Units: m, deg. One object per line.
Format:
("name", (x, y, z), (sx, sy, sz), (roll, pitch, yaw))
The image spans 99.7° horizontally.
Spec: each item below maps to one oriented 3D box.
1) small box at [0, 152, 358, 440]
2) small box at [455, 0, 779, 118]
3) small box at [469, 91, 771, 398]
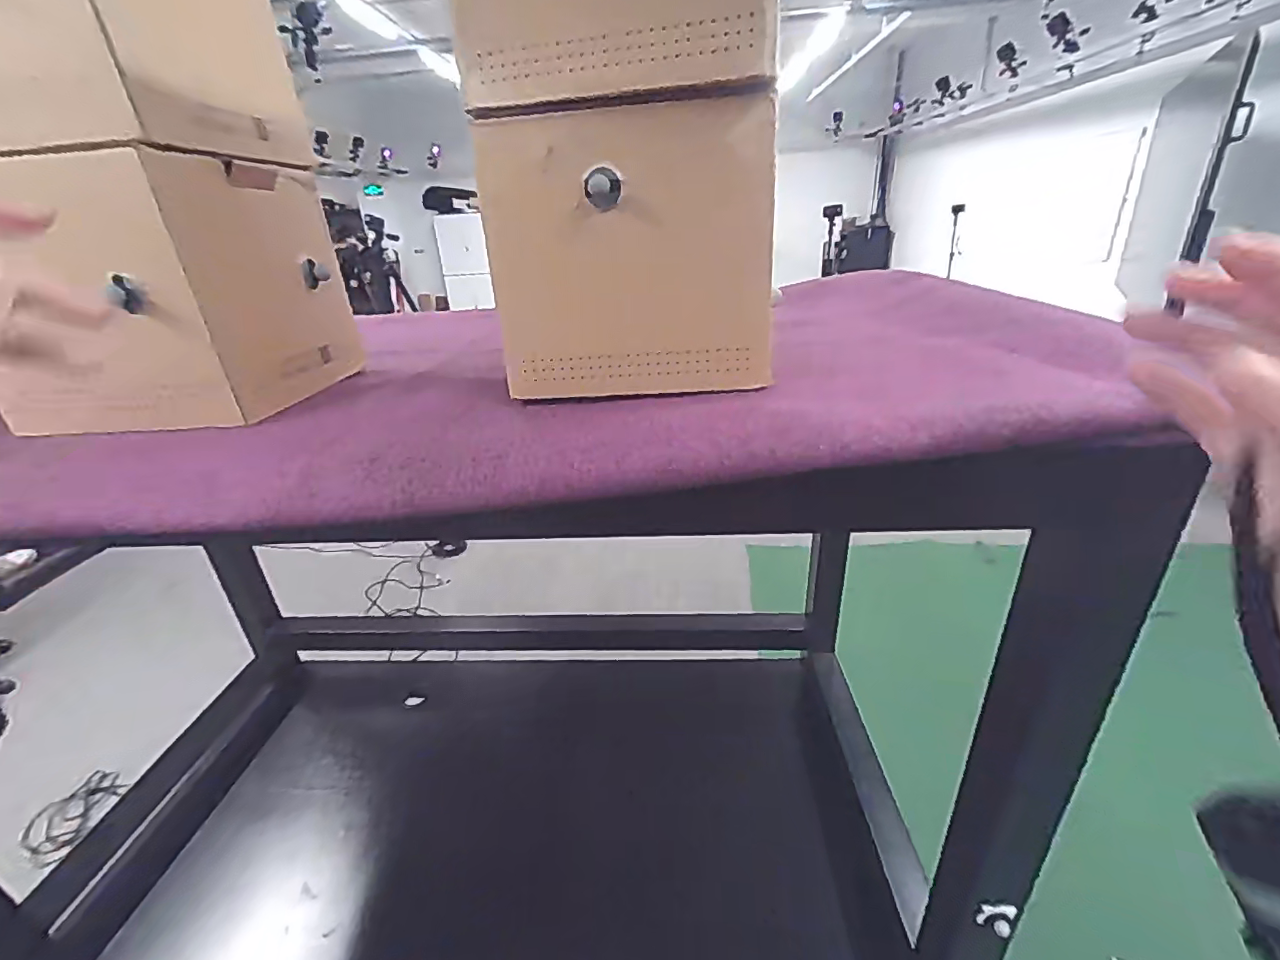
("small box", (-0.350, -0.137, 0.408), (0.179, 0.176, 0.168), (-3, 25, 4))
("small box", (-0.009, -0.309, 0.334), (0.179, 0.176, 0.168), (-1, 24, 9))
("small box", (-0.002, -0.161, 0.403), (0.179, 0.176, 0.168), (-1, 23, 5))
